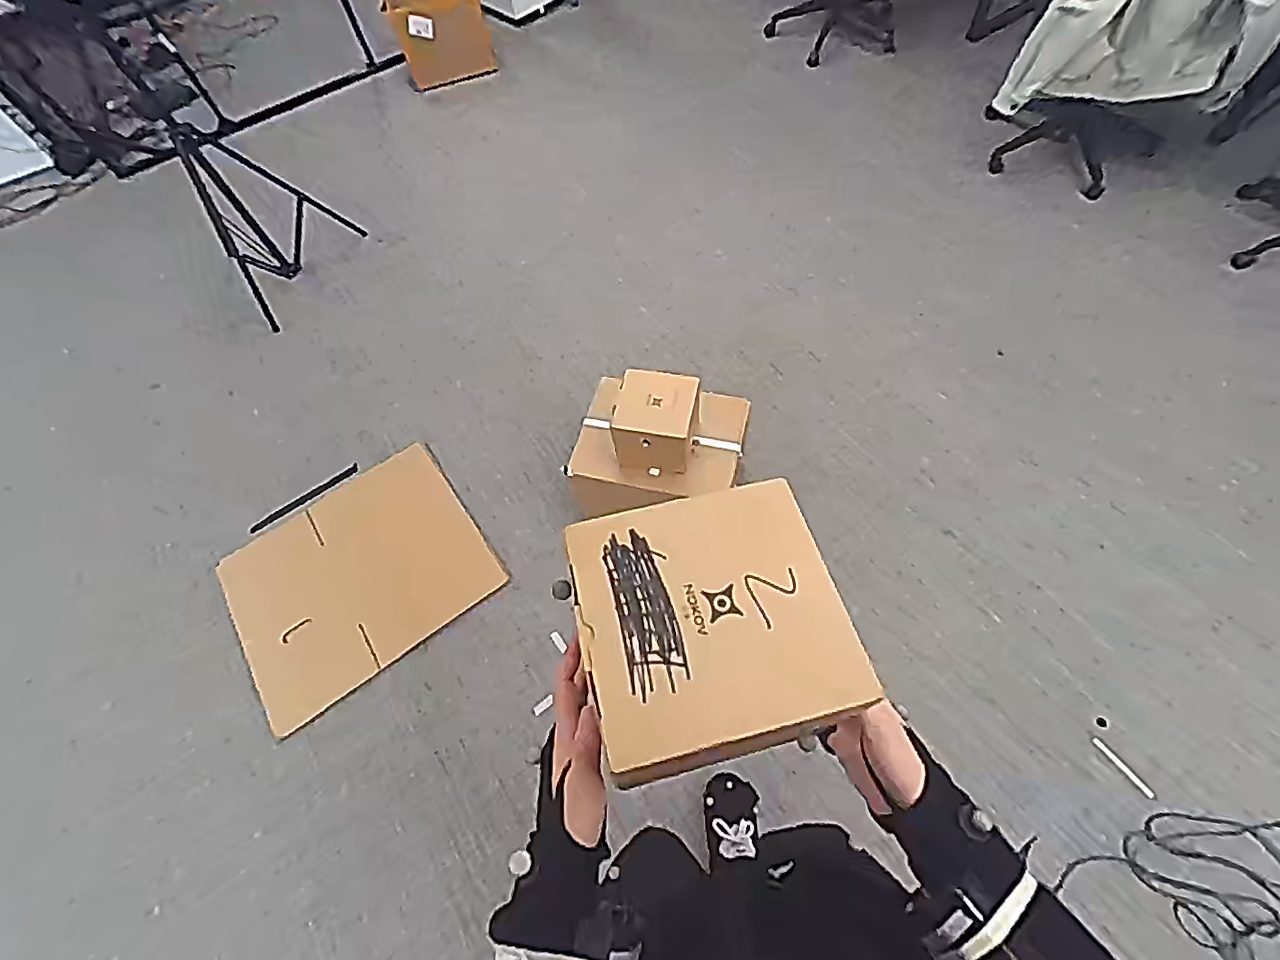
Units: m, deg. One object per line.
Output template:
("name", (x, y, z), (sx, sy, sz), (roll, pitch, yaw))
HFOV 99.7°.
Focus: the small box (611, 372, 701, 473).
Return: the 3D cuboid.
("small box", (0.044, -0.132, 1.276), (0.179, 0.176, 0.168), (9, 65, 10))
